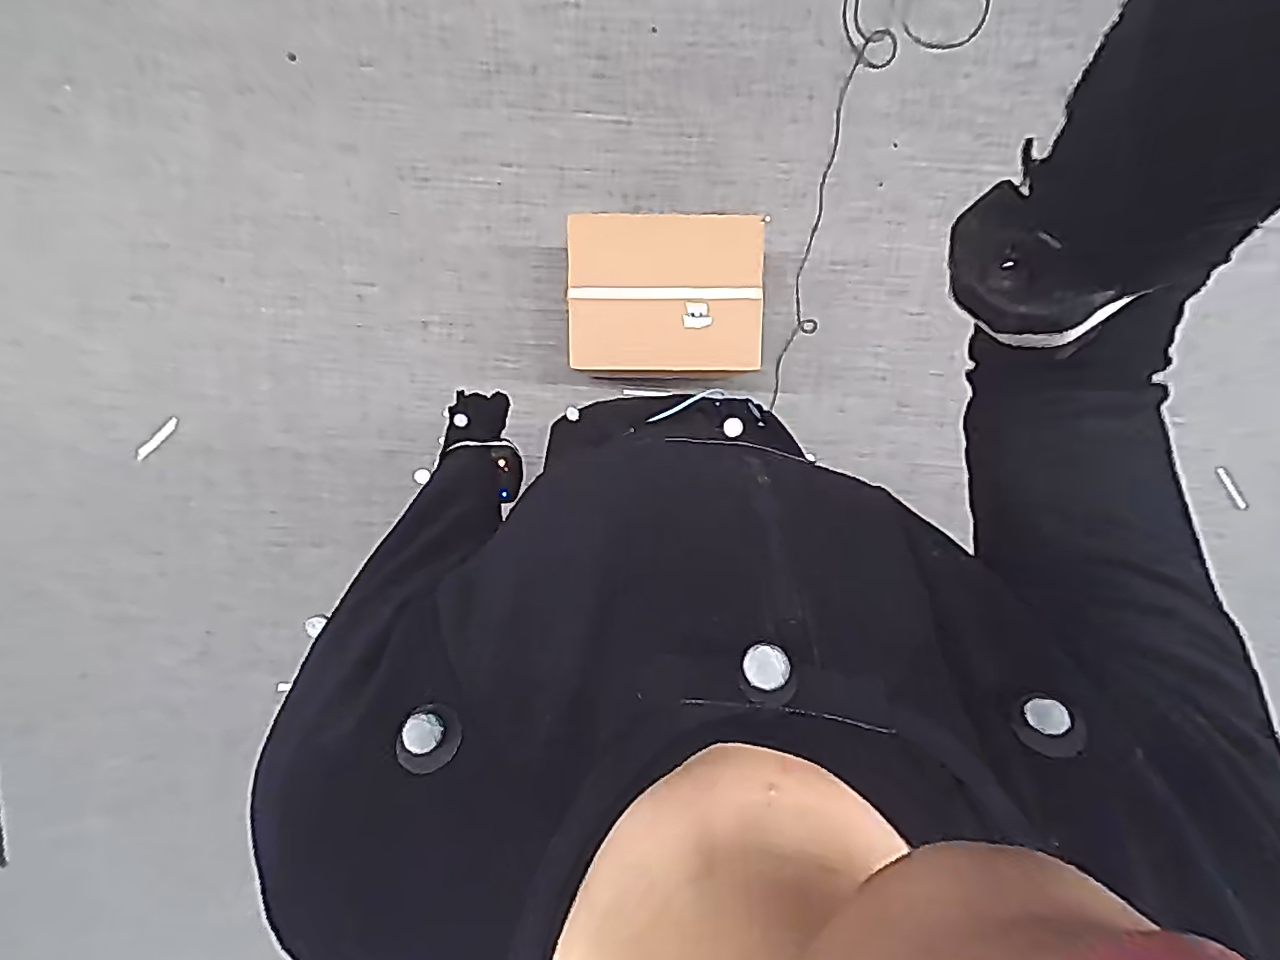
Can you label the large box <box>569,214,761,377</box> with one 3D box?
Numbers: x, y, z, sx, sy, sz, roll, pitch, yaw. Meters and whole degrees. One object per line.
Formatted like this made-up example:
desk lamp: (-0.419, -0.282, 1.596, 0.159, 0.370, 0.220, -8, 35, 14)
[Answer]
large box: (0.050, -0.413, 1.279, 0.408, 0.320, 0.320, 0, 98, -1)
